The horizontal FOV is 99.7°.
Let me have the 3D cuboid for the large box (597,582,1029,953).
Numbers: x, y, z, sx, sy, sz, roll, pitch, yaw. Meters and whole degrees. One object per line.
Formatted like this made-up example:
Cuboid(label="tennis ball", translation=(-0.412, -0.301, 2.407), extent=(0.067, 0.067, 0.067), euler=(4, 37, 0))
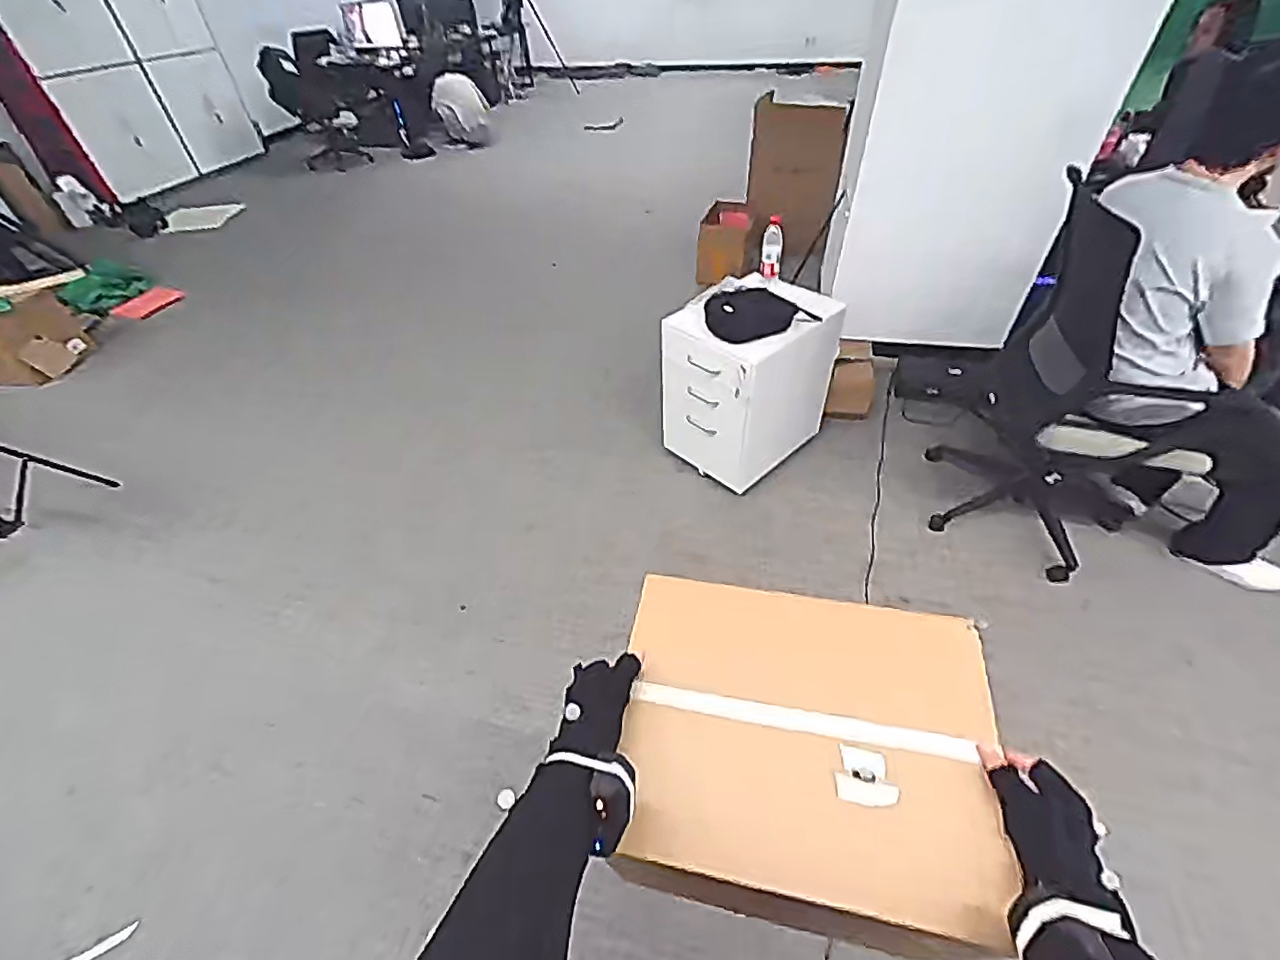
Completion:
Cuboid(label="large box", translation=(0.189, 0.369, 0.712), extent=(0.408, 0.320, 0.320), euler=(7, 50, 12))
